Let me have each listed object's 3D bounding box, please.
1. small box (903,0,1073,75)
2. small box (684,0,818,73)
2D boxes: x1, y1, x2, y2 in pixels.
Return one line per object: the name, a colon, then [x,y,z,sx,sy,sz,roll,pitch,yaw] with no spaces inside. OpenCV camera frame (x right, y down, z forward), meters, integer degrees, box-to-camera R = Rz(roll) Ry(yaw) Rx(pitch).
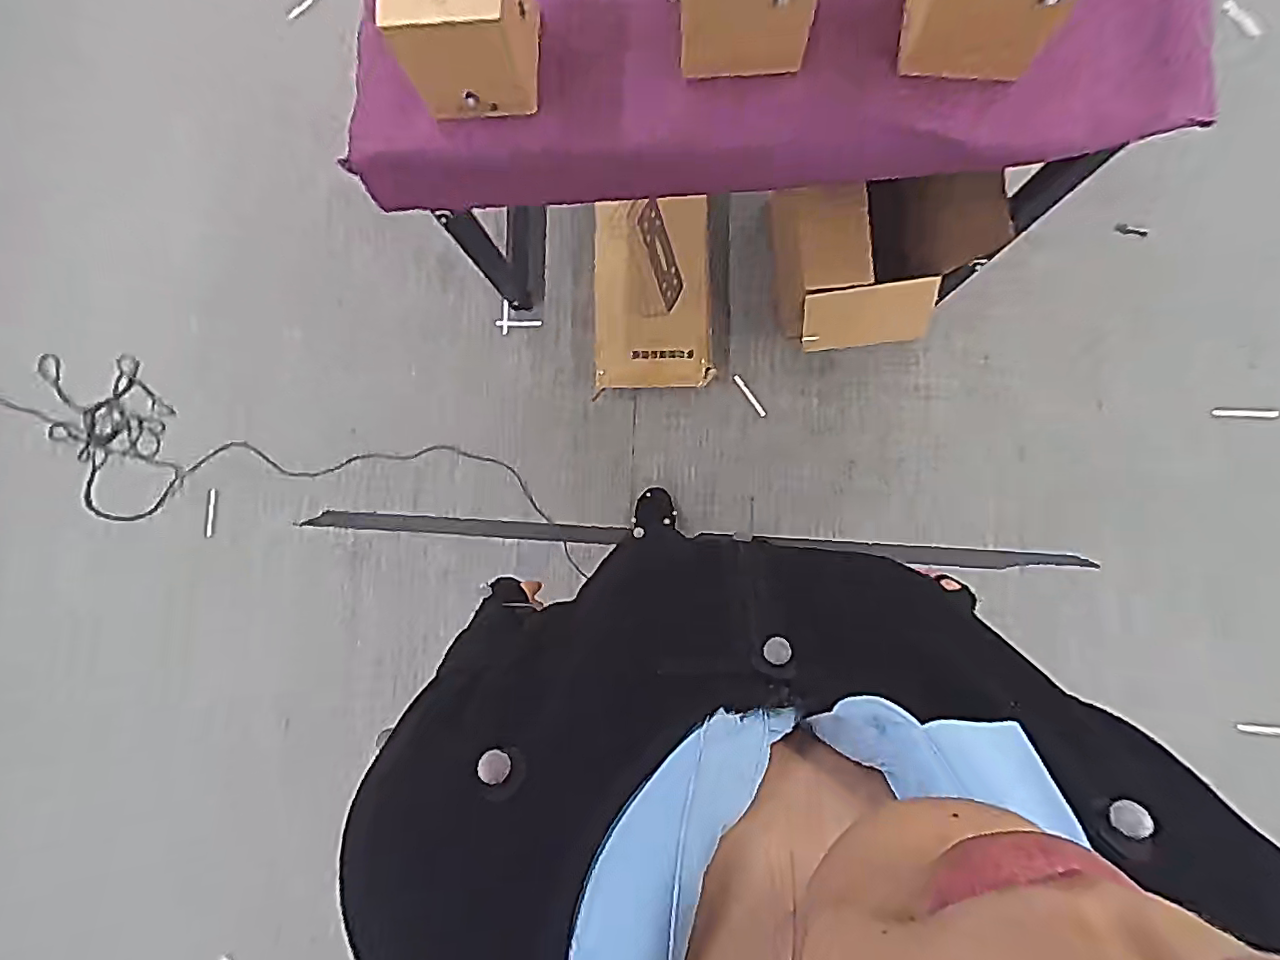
small box: [0.465,-0.669,0.703,0.179,0.176,0.168,7,87,5]
small box: [0.149,-0.693,0.729,0.179,0.176,0.168,0,84,5]
